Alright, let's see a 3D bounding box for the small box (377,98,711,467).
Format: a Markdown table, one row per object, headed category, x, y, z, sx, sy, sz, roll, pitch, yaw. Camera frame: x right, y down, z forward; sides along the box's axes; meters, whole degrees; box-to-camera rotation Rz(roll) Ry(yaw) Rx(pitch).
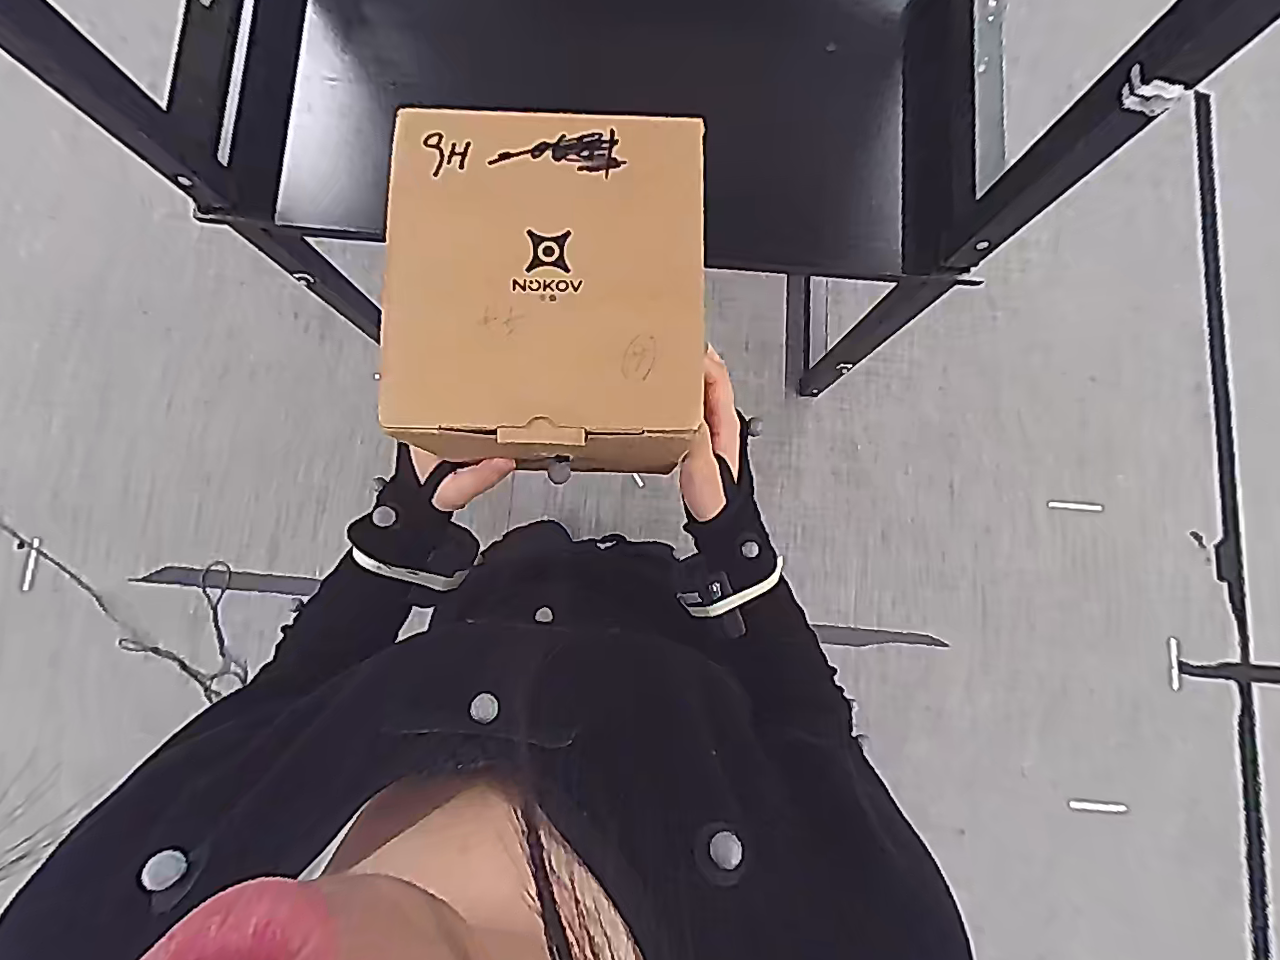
| category | x | y | z | sx | sy | sz | roll | pitch | yaw |
| --- | --- | --- | --- | --- | --- | --- | --- | --- | --- |
| small box | -0.050 | -0.101 | 0.351 | 0.168 | 0.176 | 0.179 | 1 | 86 | -3 |
